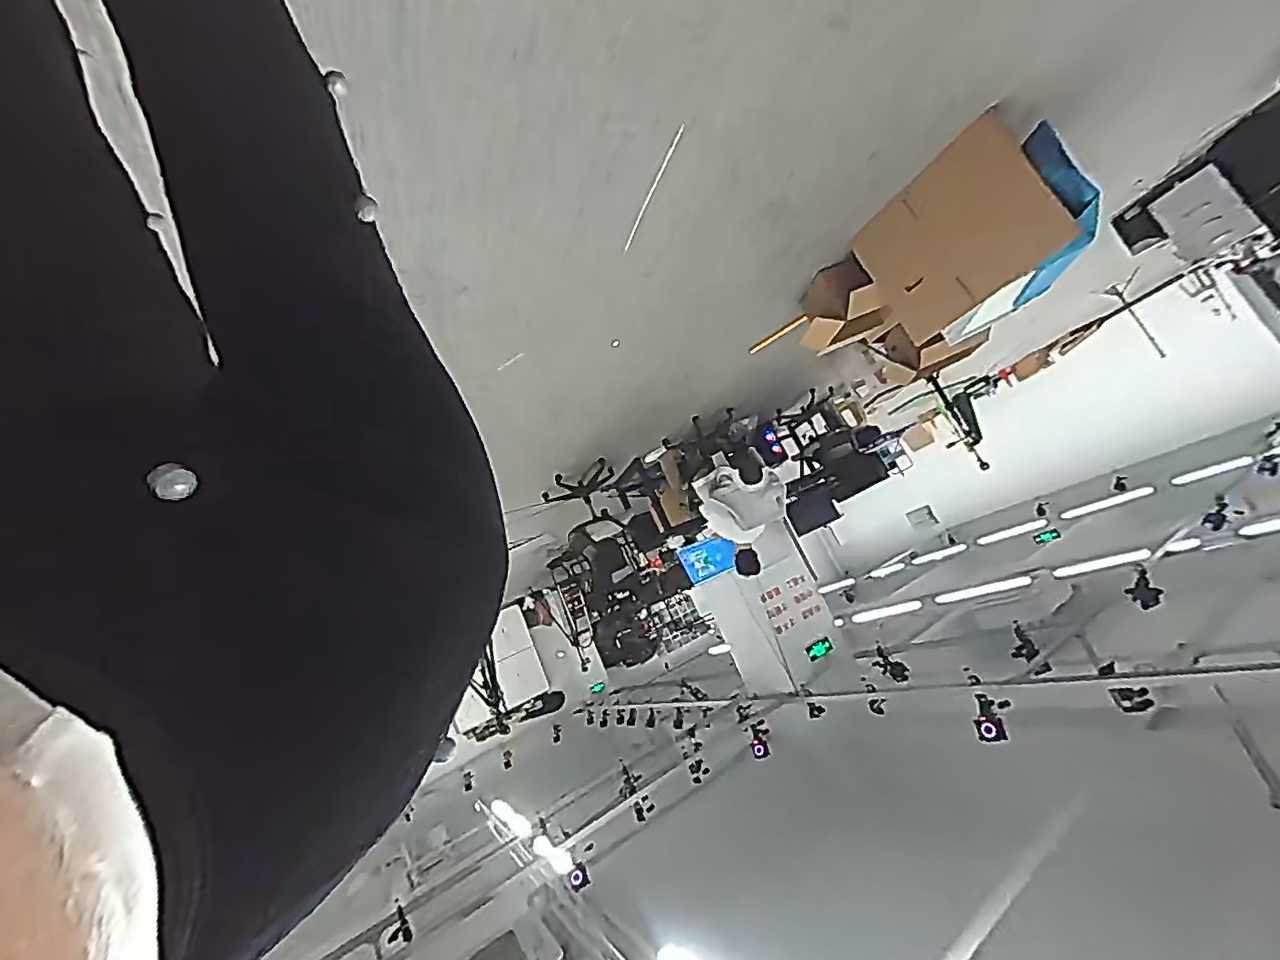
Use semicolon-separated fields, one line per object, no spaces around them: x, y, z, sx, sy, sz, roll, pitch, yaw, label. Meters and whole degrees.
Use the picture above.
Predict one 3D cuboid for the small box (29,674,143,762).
-1.541;0.656;1.508;0.168;0.176;0.179;-17;167;-30;small box
